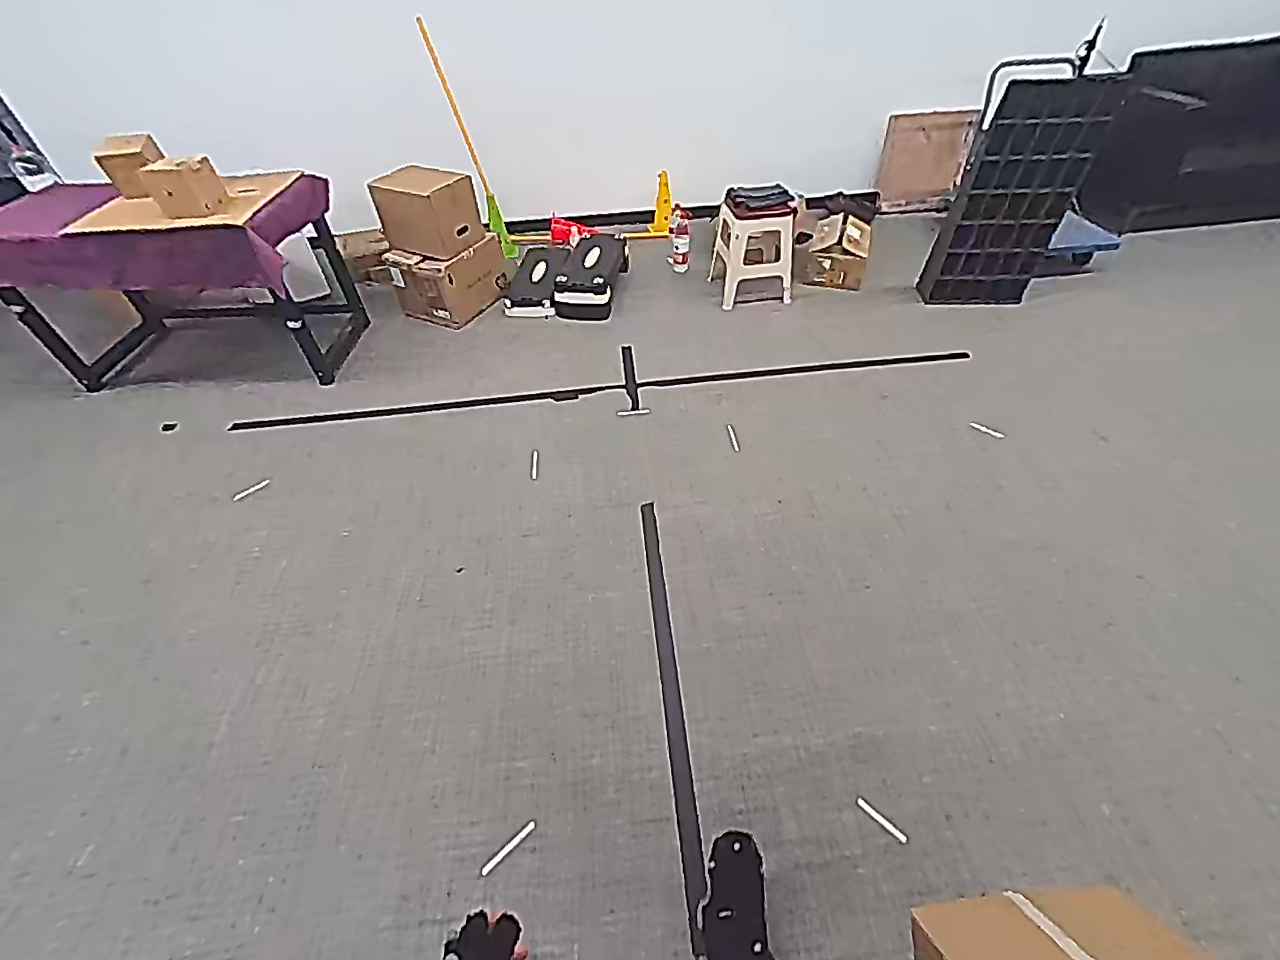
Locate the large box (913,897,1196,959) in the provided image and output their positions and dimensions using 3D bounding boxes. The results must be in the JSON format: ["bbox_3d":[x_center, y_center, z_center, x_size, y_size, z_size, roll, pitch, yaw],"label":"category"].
[{"bbox_3d":[0.557,0.745,0.574,0.320,0.408,0.320,-3,85,-4],"label":"large box"}]
